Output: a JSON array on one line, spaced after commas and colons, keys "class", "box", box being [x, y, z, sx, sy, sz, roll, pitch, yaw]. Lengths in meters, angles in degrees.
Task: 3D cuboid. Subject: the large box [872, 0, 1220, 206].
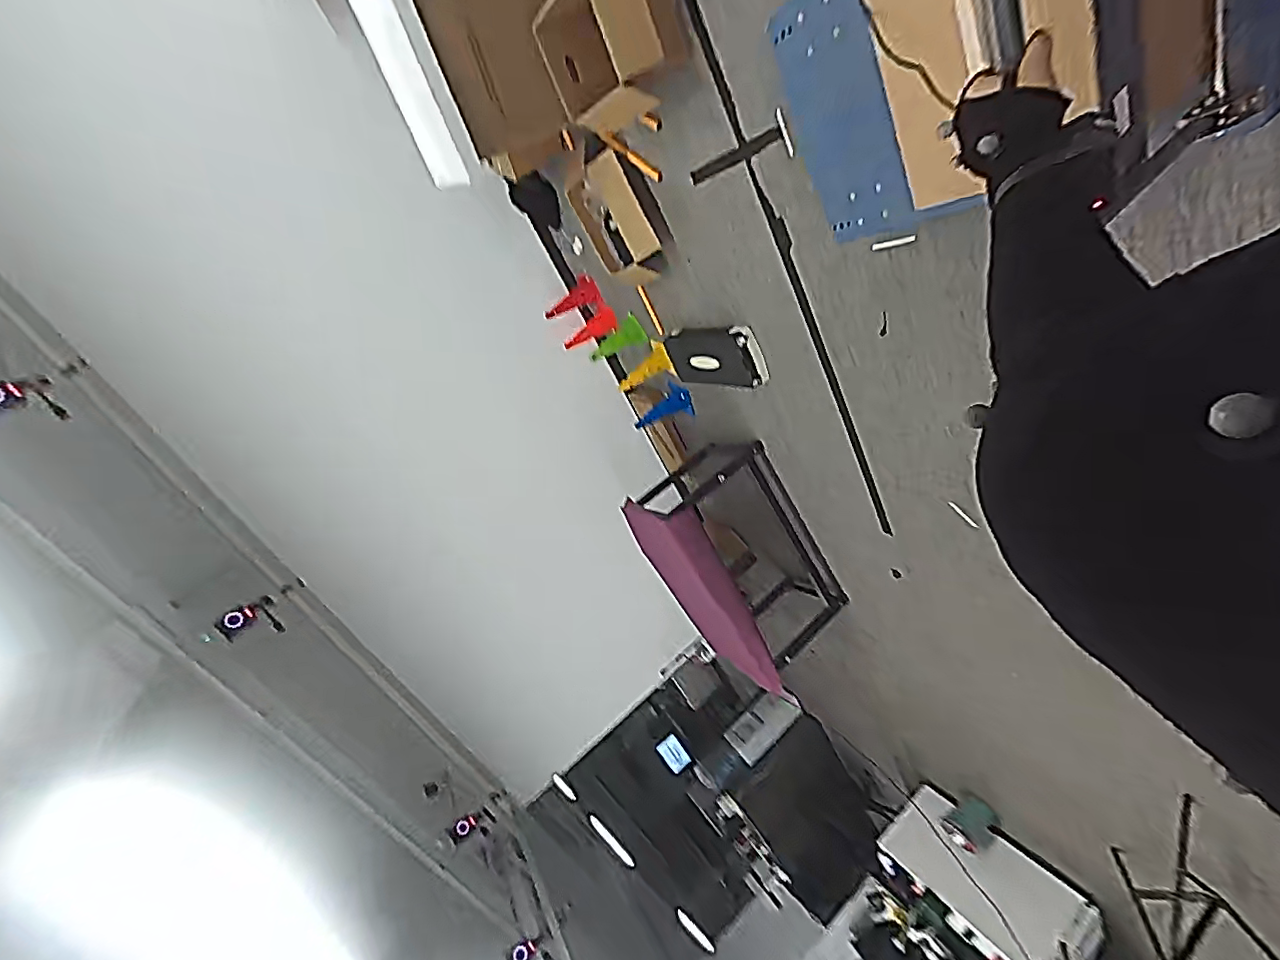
[{"class": "large box", "box": [0.636, -0.736, 0.861, 0.320, 0.320, 0.408, 18, 141, 61]}]
